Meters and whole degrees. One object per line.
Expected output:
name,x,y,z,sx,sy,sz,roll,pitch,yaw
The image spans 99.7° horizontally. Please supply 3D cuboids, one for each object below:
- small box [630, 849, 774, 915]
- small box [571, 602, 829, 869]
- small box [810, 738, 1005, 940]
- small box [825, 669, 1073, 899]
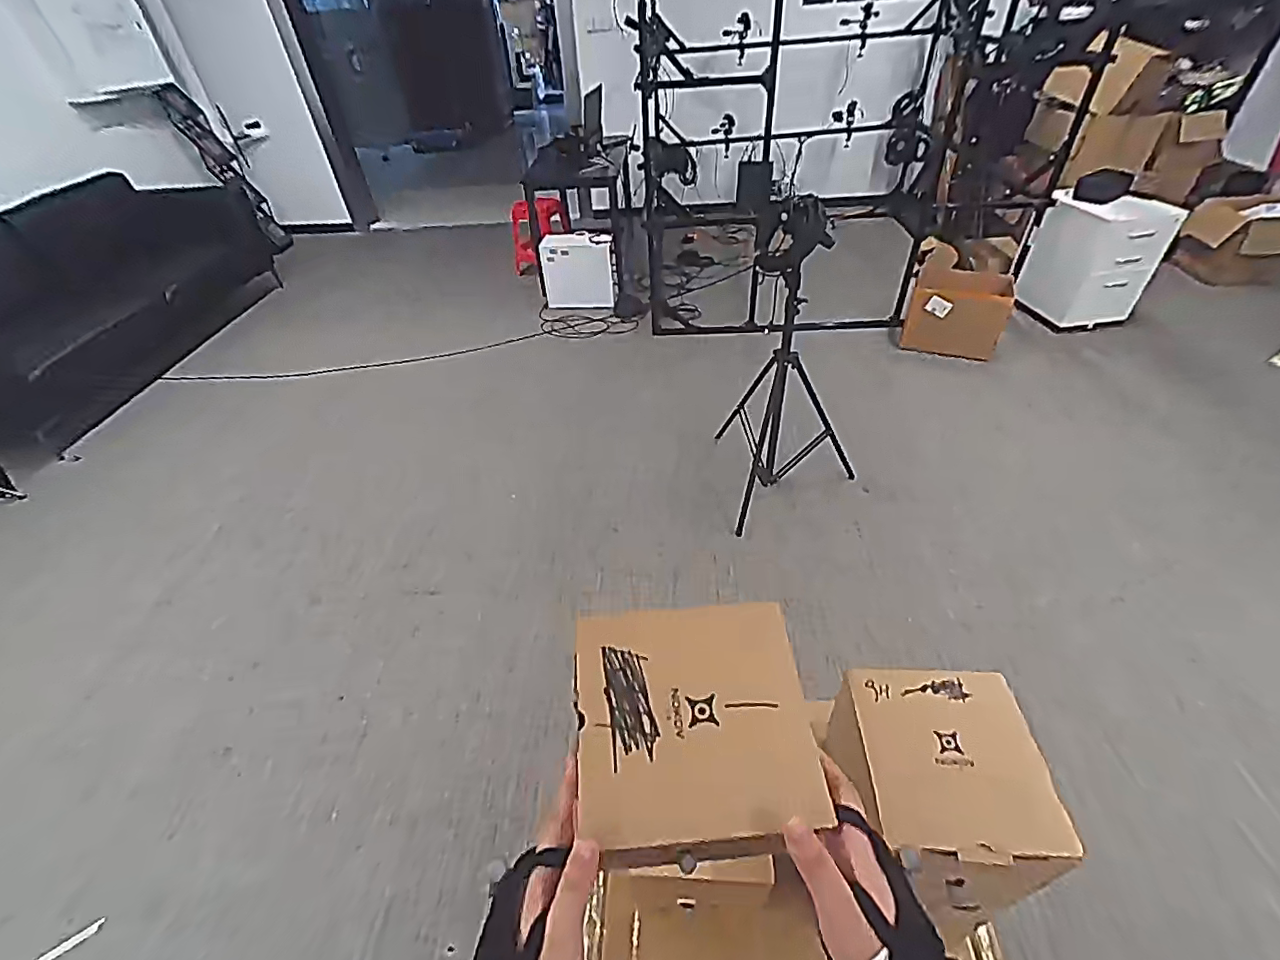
small box,0.077,0.449,0.721,0.168,0.176,0.179,-1,42,4
small box,0.037,0.225,0.470,0.179,0.176,0.168,-4,50,-3
small box,0.315,0.455,0.691,0.168,0.176,0.179,-2,42,6
small box,0.307,0.329,0.586,0.168,0.176,0.179,0,42,7
